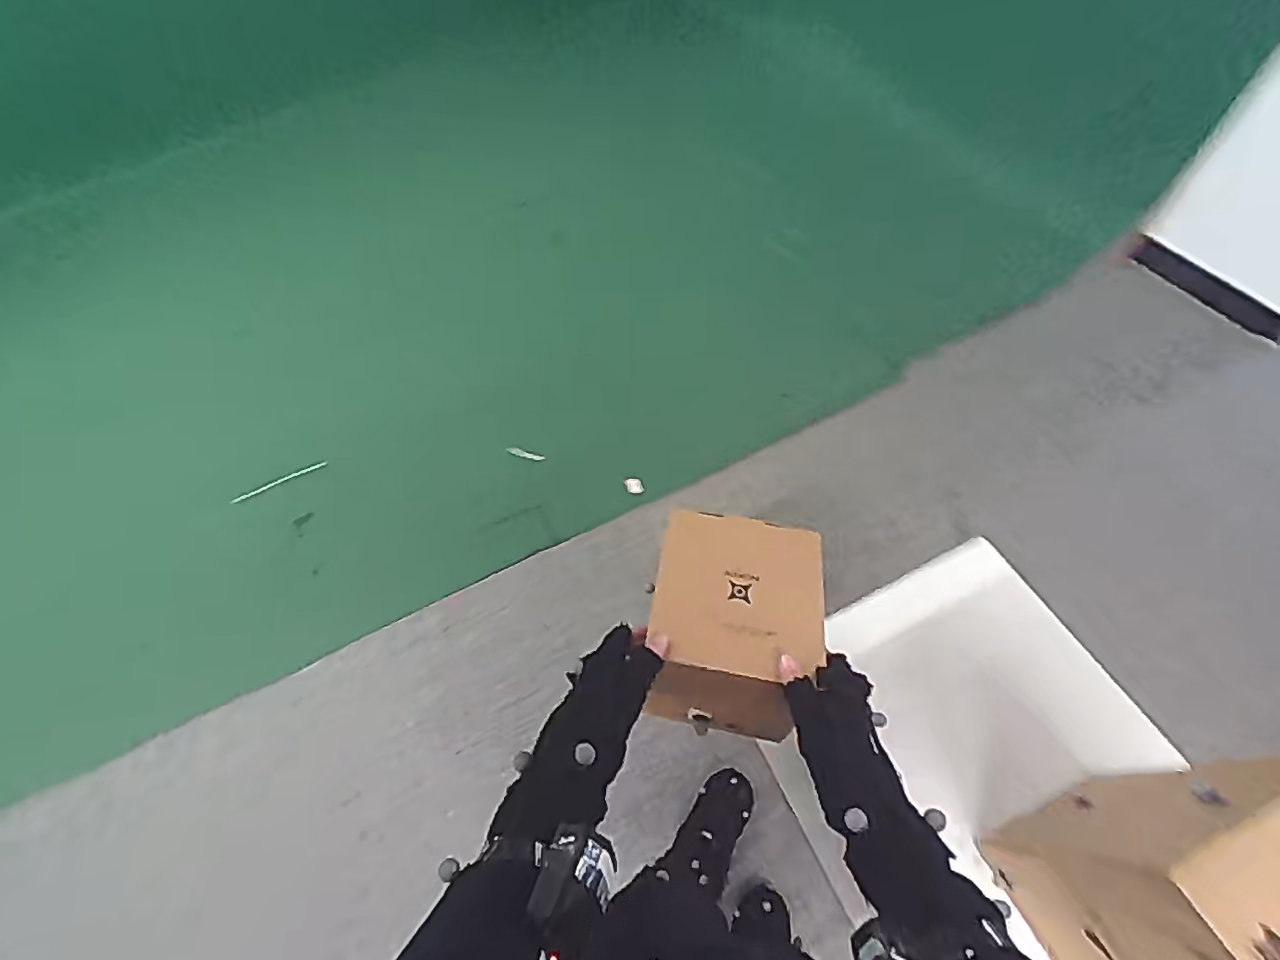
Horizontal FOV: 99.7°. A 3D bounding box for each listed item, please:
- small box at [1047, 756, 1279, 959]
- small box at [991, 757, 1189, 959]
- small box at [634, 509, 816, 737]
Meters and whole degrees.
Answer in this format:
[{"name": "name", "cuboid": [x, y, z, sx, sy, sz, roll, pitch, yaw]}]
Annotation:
[{"name": "small box", "cuboid": [0.464, 0.320, 0.399, 0.179, 0.176, 0.168, -24, 60, -6]}, {"name": "small box", "cuboid": [0.493, 0.402, 0.537, 0.179, 0.176, 0.168, -26, 60, -7]}, {"name": "small box", "cuboid": [0.086, 0.159, 0.596, 0.168, 0.176, 0.179, 7, 51, 5]}]
